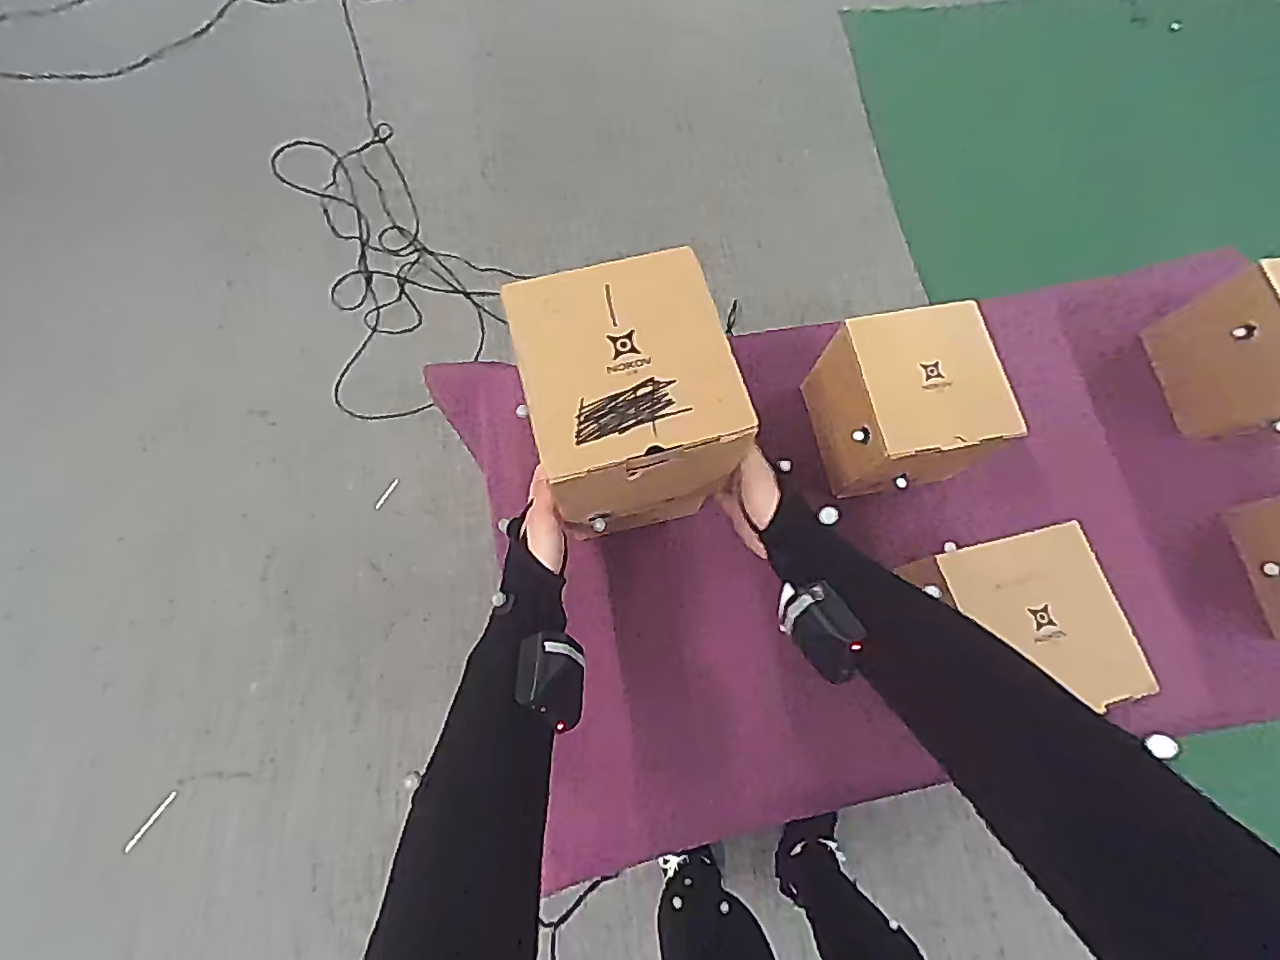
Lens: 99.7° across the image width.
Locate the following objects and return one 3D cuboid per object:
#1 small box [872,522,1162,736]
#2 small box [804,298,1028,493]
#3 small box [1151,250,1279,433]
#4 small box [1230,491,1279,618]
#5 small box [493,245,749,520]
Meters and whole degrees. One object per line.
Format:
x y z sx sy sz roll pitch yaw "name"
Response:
0.393 0.162 0.602 0.168 0.176 0.179 -12 73 -5 "small box"
0.325 -0.097 0.680 0.168 0.176 0.179 -10 75 -4 "small box"
0.839 -0.177 0.707 0.168 0.176 0.179 -5 74 -1 "small box"
0.876 0.085 0.629 0.168 0.176 0.179 -5 73 -2 "small box"
-0.018 -0.071 0.491 0.168 0.176 0.179 -15 73 -6 "small box"
